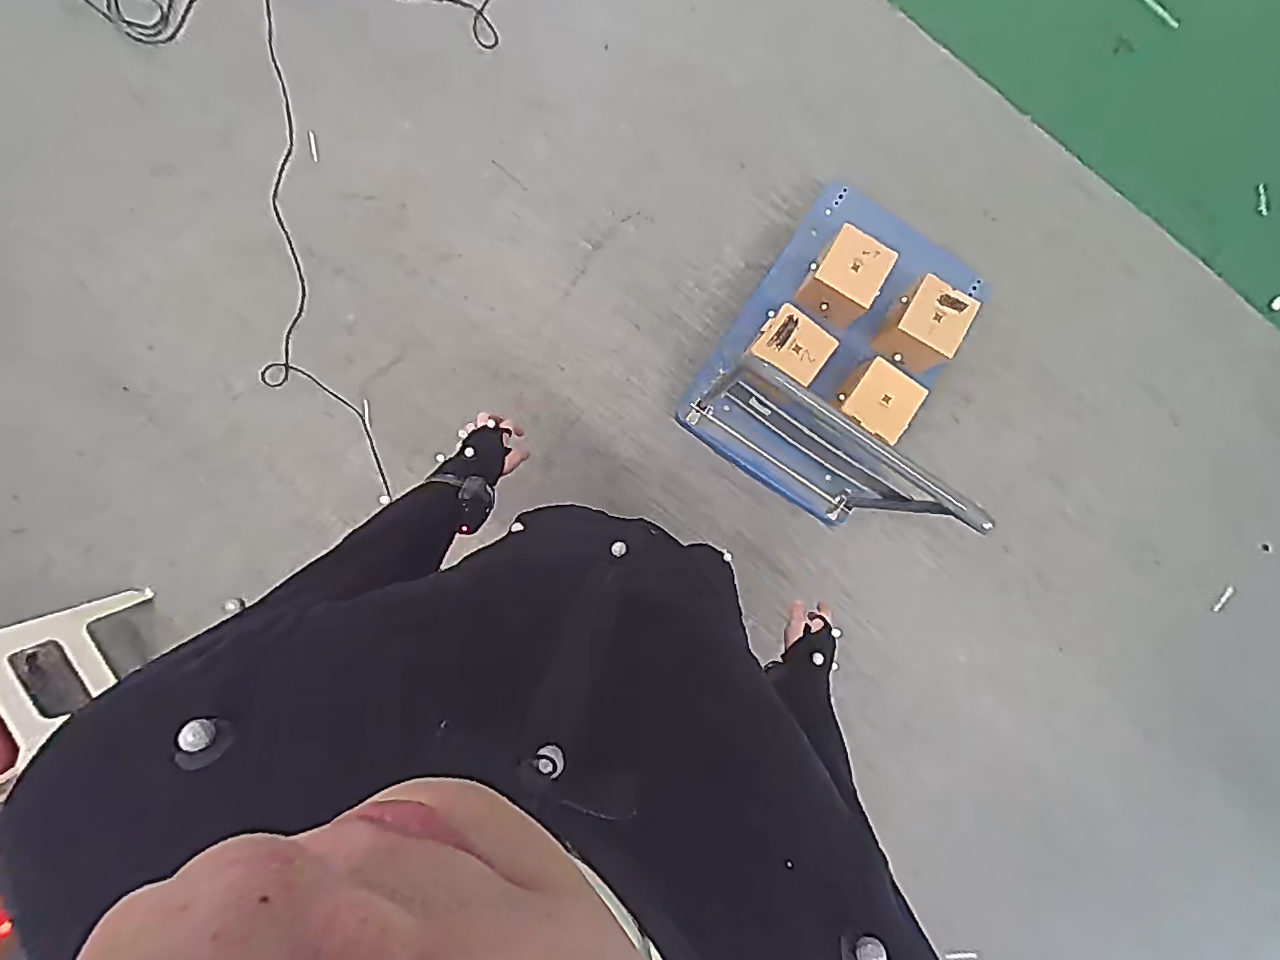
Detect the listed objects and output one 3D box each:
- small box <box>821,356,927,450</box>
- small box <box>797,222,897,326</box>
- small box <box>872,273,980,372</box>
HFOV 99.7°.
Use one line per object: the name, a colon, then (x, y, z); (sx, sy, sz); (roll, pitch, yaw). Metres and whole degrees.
small box: (0.621, -0.200, 1.461); (0.168, 0.176, 0.179); (35, 86, -1)
small box: (0.553, -0.551, 1.475); (0.168, 0.176, 0.179); (31, 85, -2)
small box: (0.771, -0.424, 1.481); (0.168, 0.176, 0.179); (31, 86, -1)
